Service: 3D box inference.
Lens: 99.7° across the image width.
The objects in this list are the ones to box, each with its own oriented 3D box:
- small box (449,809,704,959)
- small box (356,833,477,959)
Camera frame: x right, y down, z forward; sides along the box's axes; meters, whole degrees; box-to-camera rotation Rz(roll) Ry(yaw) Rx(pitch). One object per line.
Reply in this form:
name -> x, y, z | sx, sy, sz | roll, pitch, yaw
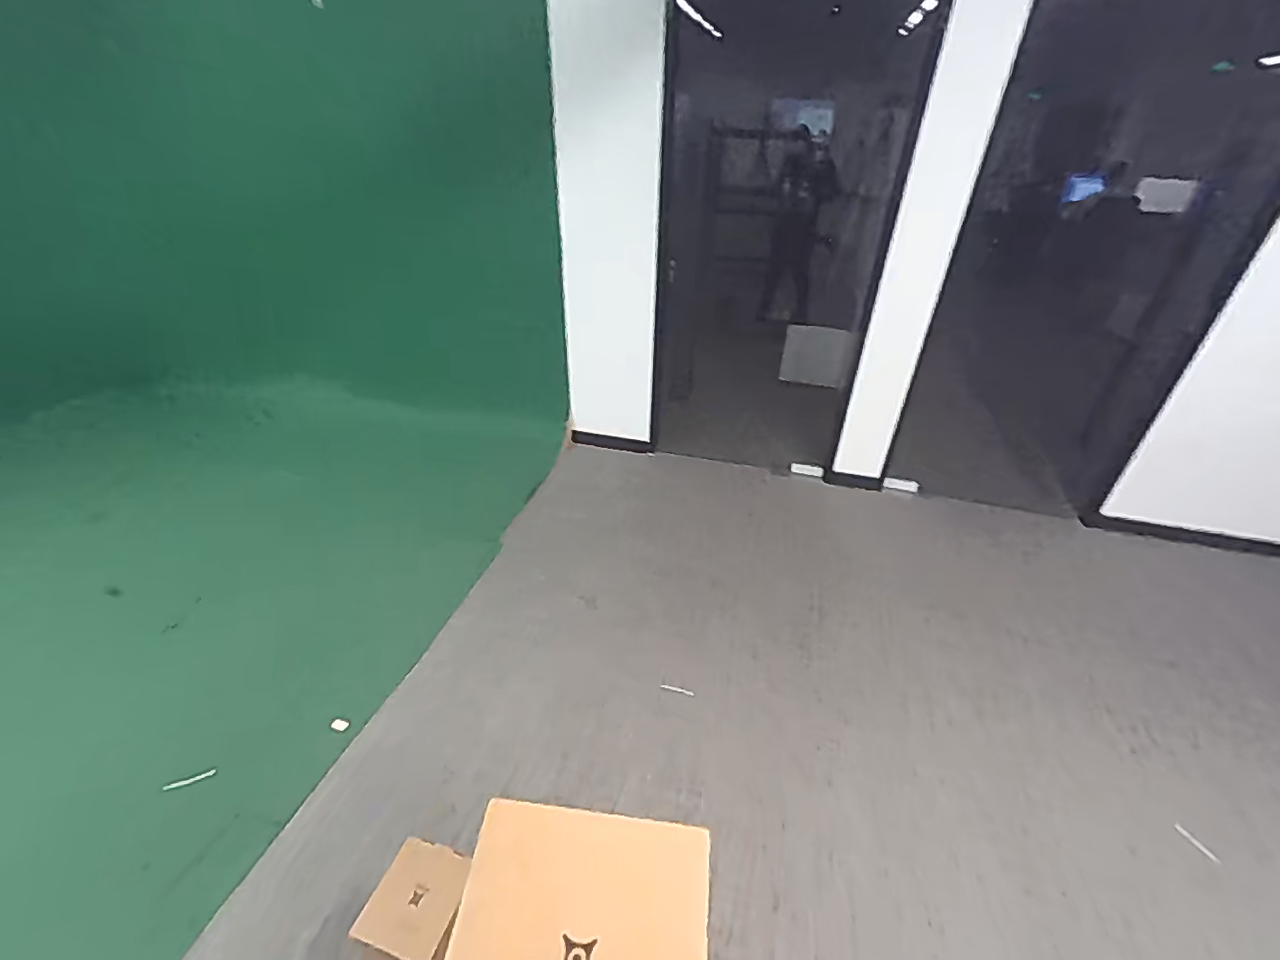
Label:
small box -> -0.047, 0.374, 0.403 | 0.168, 0.176, 0.179 | 5, 47, 3
small box -> -0.415, 0.851, 1.070 | 0.168, 0.176, 0.179 | 10, 36, 14
